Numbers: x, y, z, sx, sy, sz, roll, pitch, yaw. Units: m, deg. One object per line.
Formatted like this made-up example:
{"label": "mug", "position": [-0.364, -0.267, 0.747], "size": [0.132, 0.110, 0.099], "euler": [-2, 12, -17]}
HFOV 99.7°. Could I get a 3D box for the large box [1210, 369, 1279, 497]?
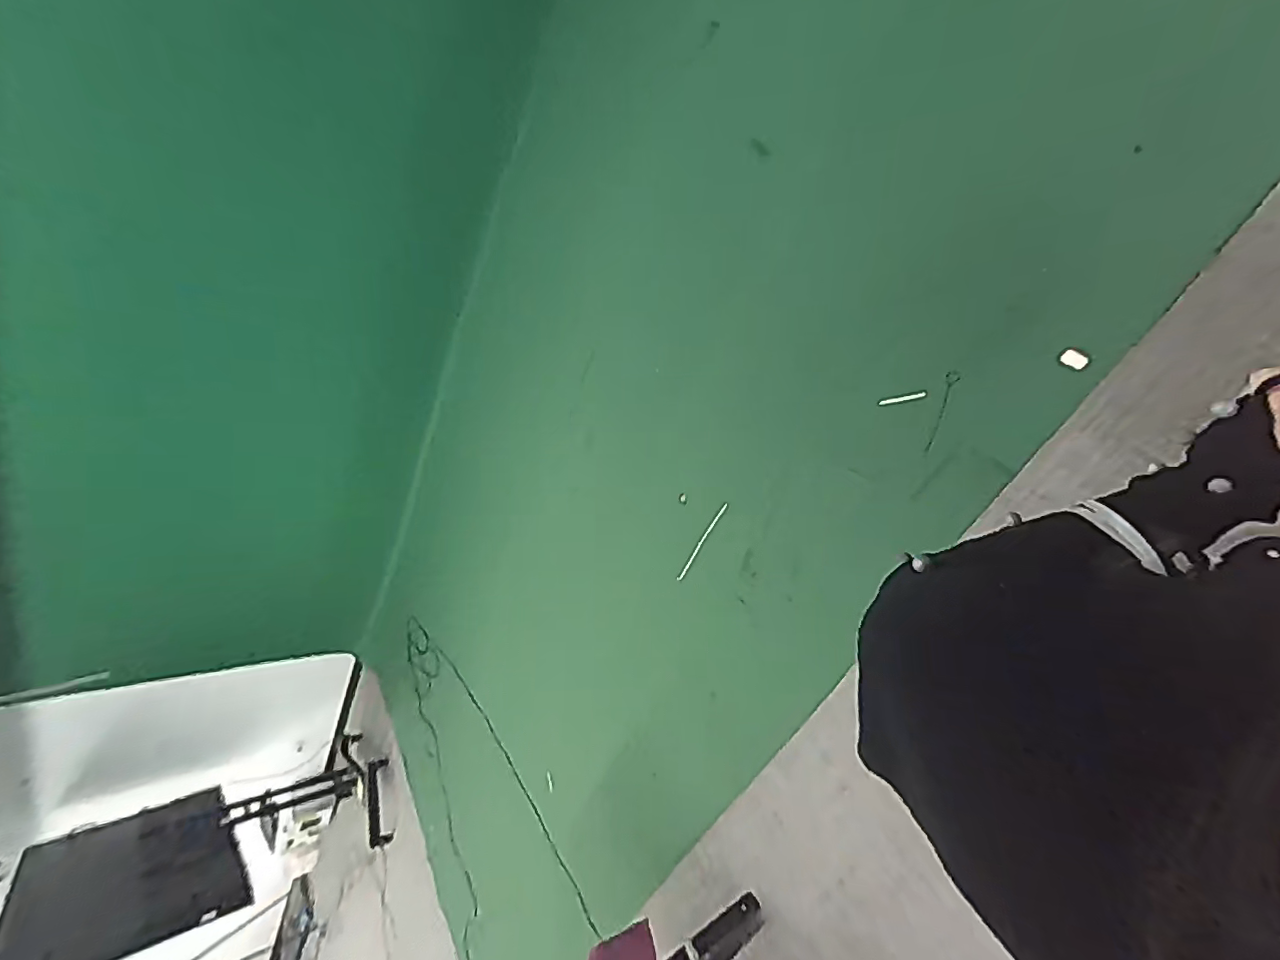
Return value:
{"label": "large box", "position": [1.174, -0.116, 0.788], "size": [0.320, 0.320, 0.408], "euler": [47, 120, 39]}
